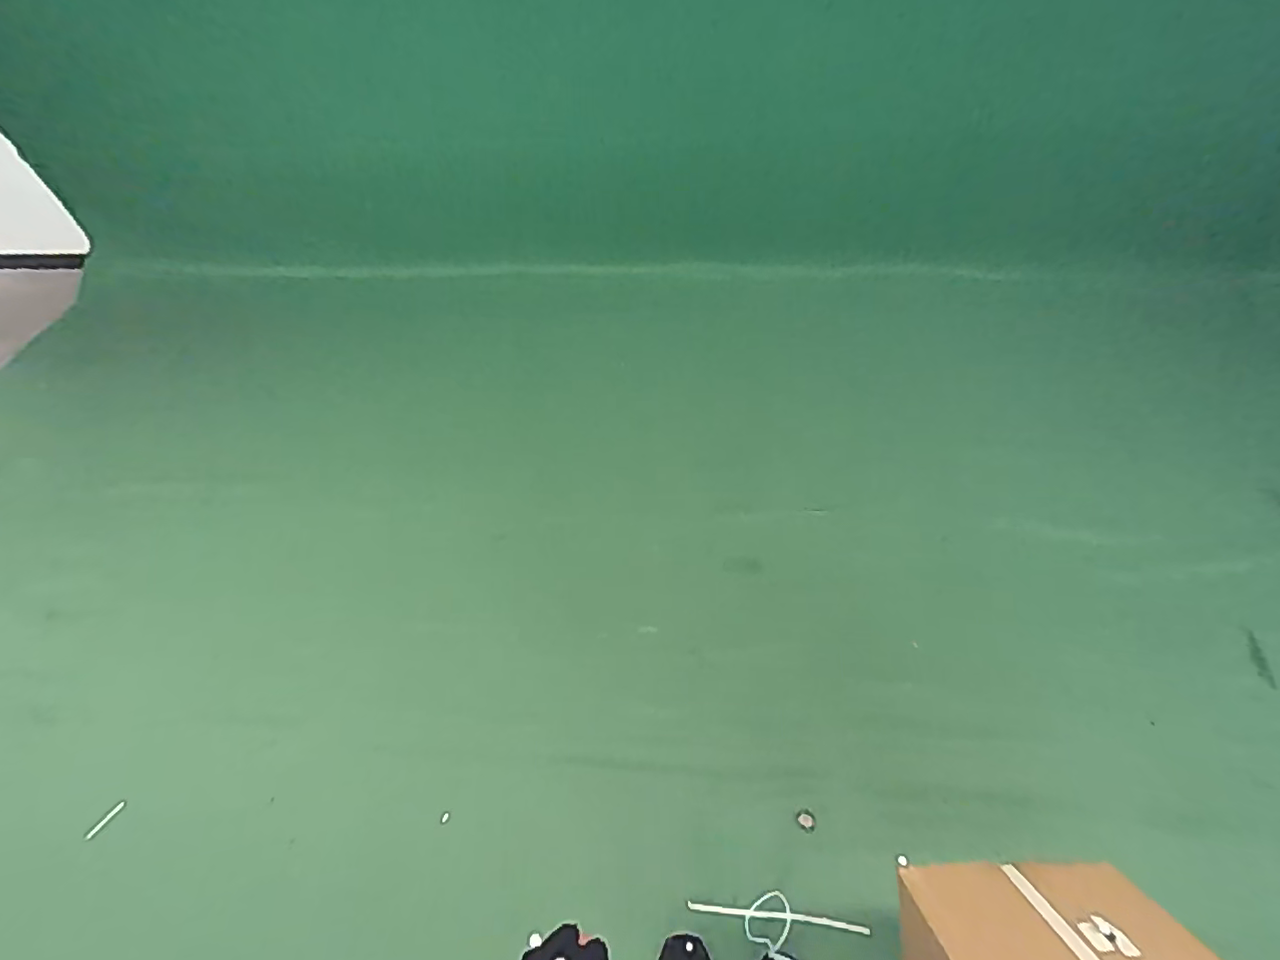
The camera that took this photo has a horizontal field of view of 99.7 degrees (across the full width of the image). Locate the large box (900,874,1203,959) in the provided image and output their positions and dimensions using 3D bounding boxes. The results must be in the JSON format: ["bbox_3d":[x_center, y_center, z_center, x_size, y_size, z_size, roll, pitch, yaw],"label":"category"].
[{"bbox_3d":[0.546,0.745,0.612,0.320,0.408,0.320,-3,88,3],"label":"large box"}]
